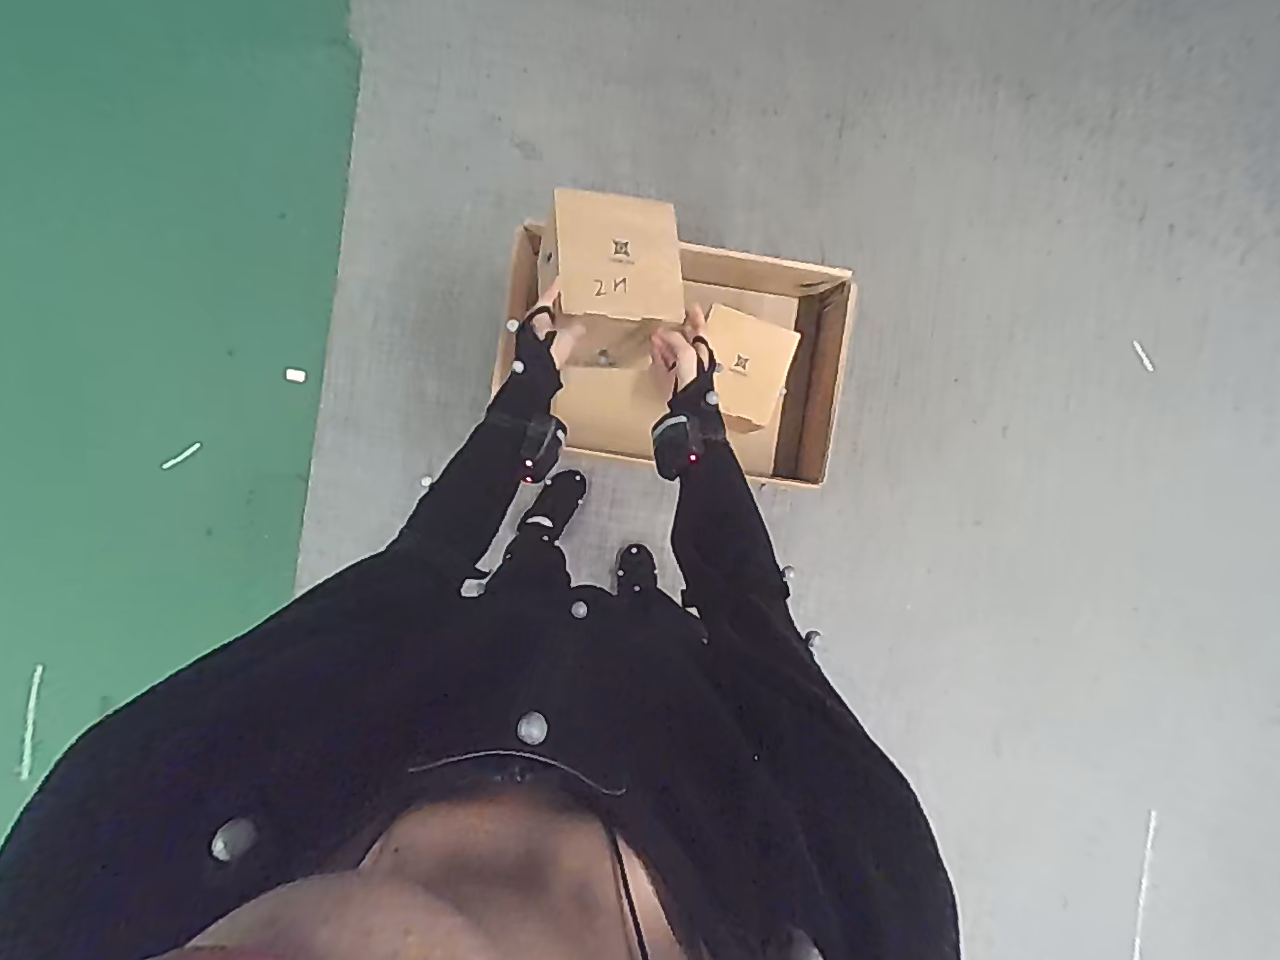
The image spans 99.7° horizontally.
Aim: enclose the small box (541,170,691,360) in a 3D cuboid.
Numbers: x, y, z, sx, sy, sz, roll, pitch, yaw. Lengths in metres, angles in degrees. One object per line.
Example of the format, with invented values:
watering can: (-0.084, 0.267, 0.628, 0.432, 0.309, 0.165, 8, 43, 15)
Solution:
small box: (-0.042, -0.282, 0.747, 0.168, 0.176, 0.179, -1, 82, -18)
